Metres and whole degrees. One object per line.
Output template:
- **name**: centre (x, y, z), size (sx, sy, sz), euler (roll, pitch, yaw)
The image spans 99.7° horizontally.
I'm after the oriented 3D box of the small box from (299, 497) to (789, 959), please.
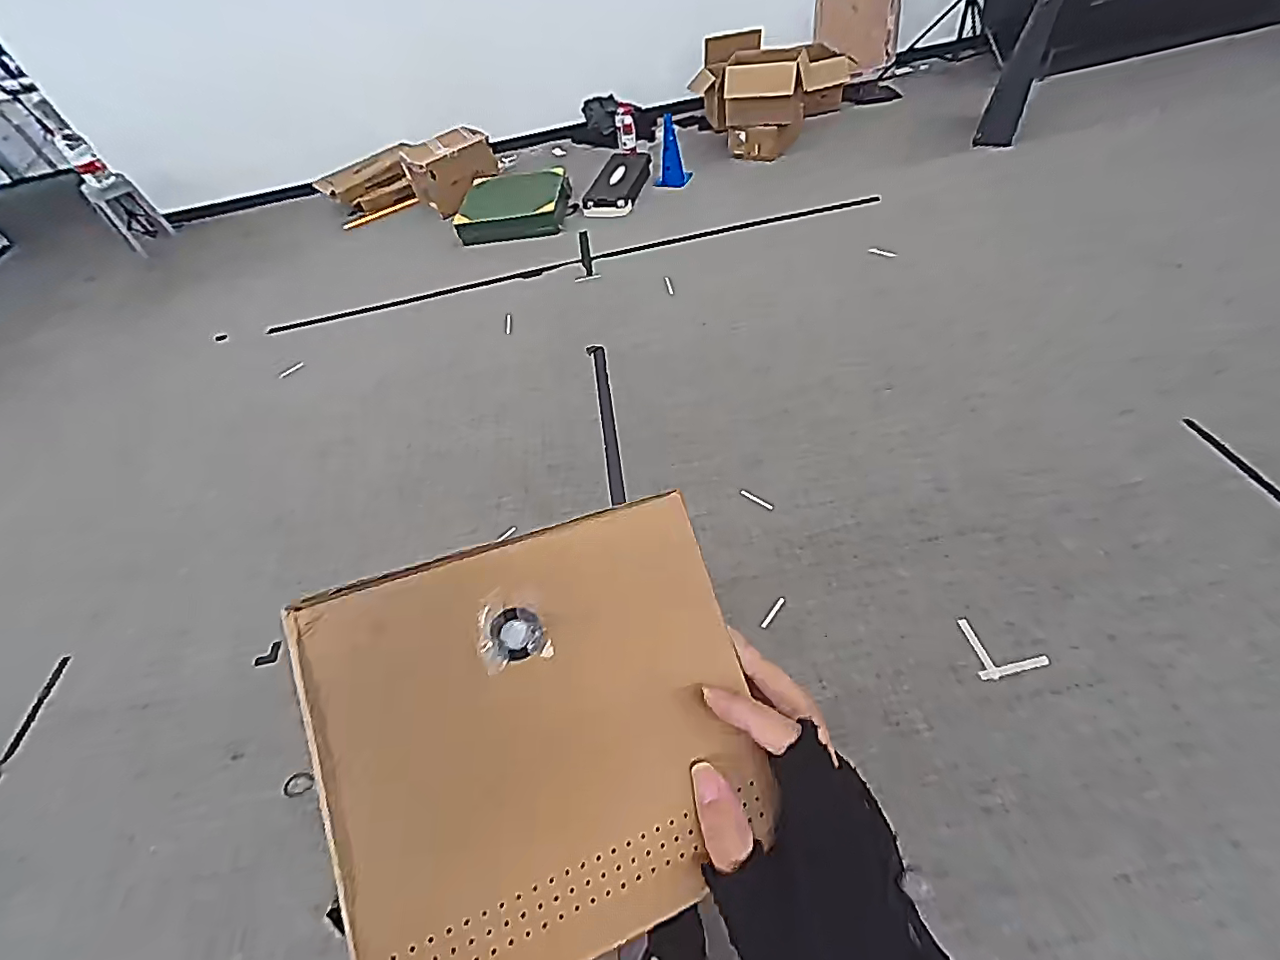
- **small box**: centre (-0.050, 0.127, 0.299), size (0.179, 0.168, 0.176), euler (-15, 79, -18)
